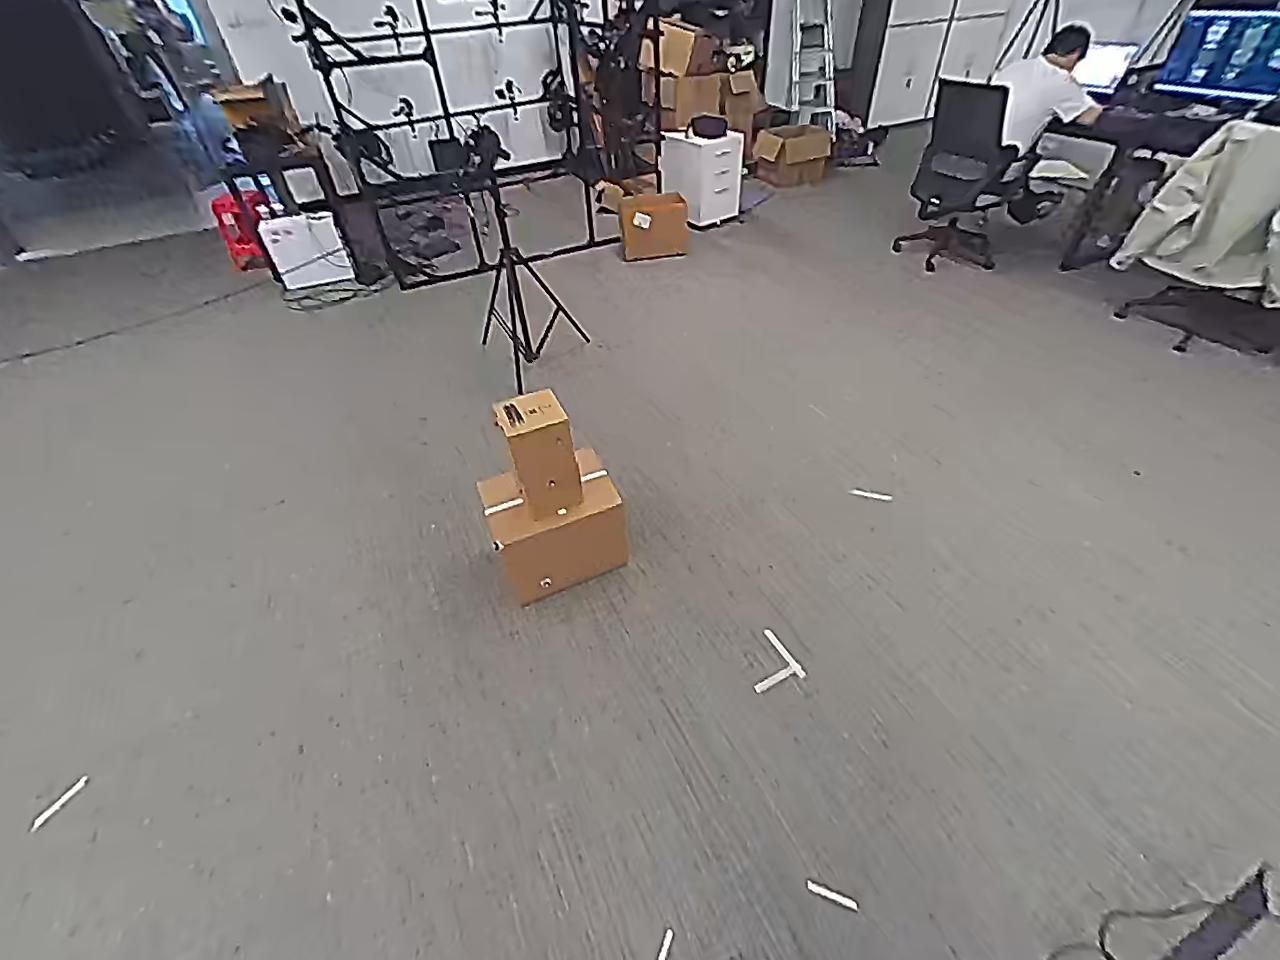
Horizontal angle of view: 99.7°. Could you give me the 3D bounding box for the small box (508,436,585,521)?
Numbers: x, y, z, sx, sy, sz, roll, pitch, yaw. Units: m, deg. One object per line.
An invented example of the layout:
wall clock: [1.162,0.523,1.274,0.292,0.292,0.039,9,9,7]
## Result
small box: [-0.285,-0.001,1.665,0.179,0.176,0.168,-20,47,-18]
